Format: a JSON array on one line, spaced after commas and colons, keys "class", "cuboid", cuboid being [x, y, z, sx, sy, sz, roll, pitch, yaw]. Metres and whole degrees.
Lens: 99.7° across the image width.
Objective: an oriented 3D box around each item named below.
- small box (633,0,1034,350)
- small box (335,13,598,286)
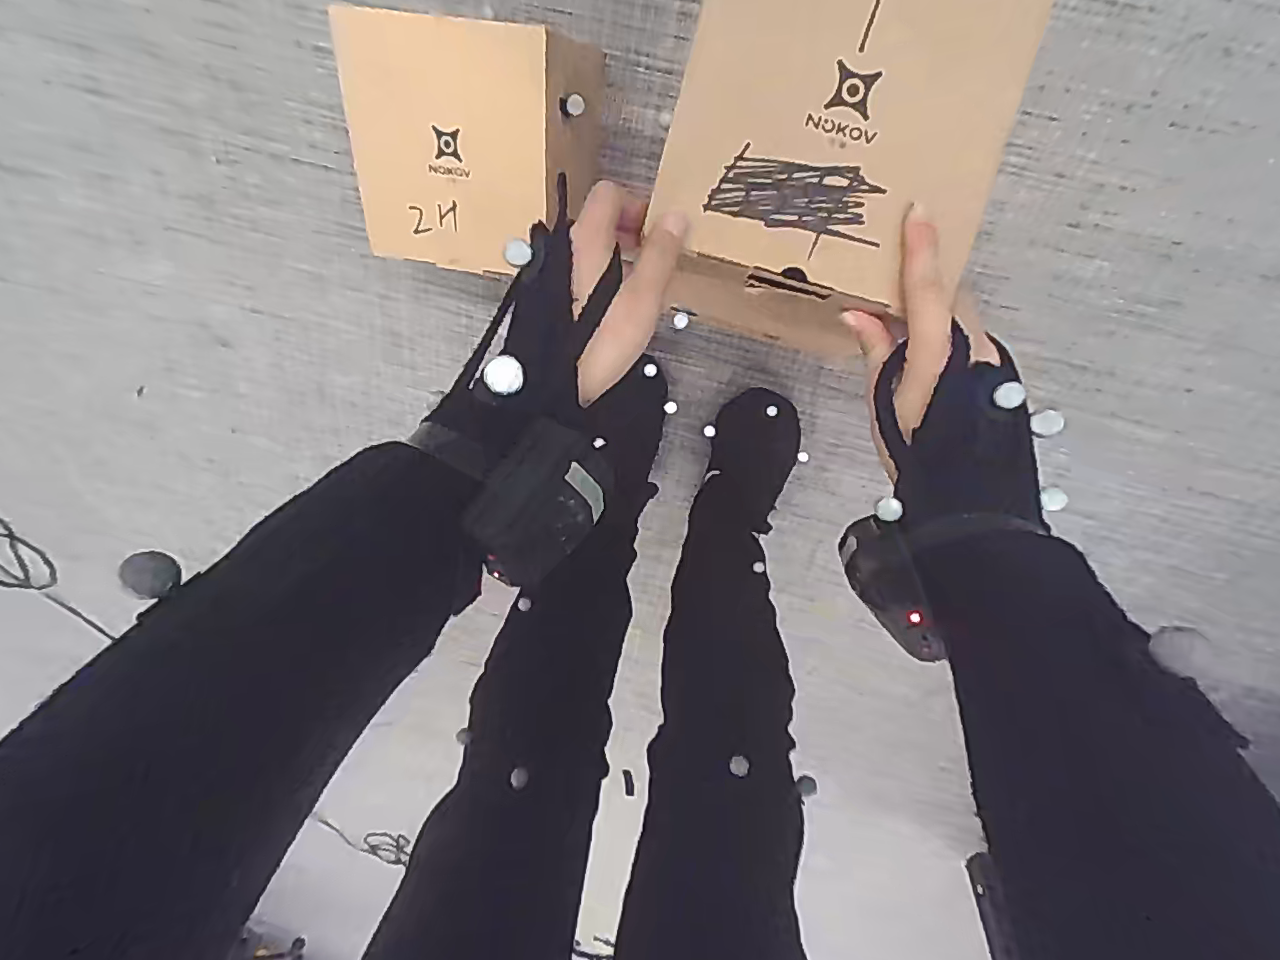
[{"class": "small box", "cuboid": [0.100, -0.195, 0.358, 0.168, 0.176, 0.179, 15, 97, 0]}, {"class": "small box", "cuboid": [-0.139, -0.300, 0.502, 0.168, 0.176, 0.179, 10, 125, 6]}]
